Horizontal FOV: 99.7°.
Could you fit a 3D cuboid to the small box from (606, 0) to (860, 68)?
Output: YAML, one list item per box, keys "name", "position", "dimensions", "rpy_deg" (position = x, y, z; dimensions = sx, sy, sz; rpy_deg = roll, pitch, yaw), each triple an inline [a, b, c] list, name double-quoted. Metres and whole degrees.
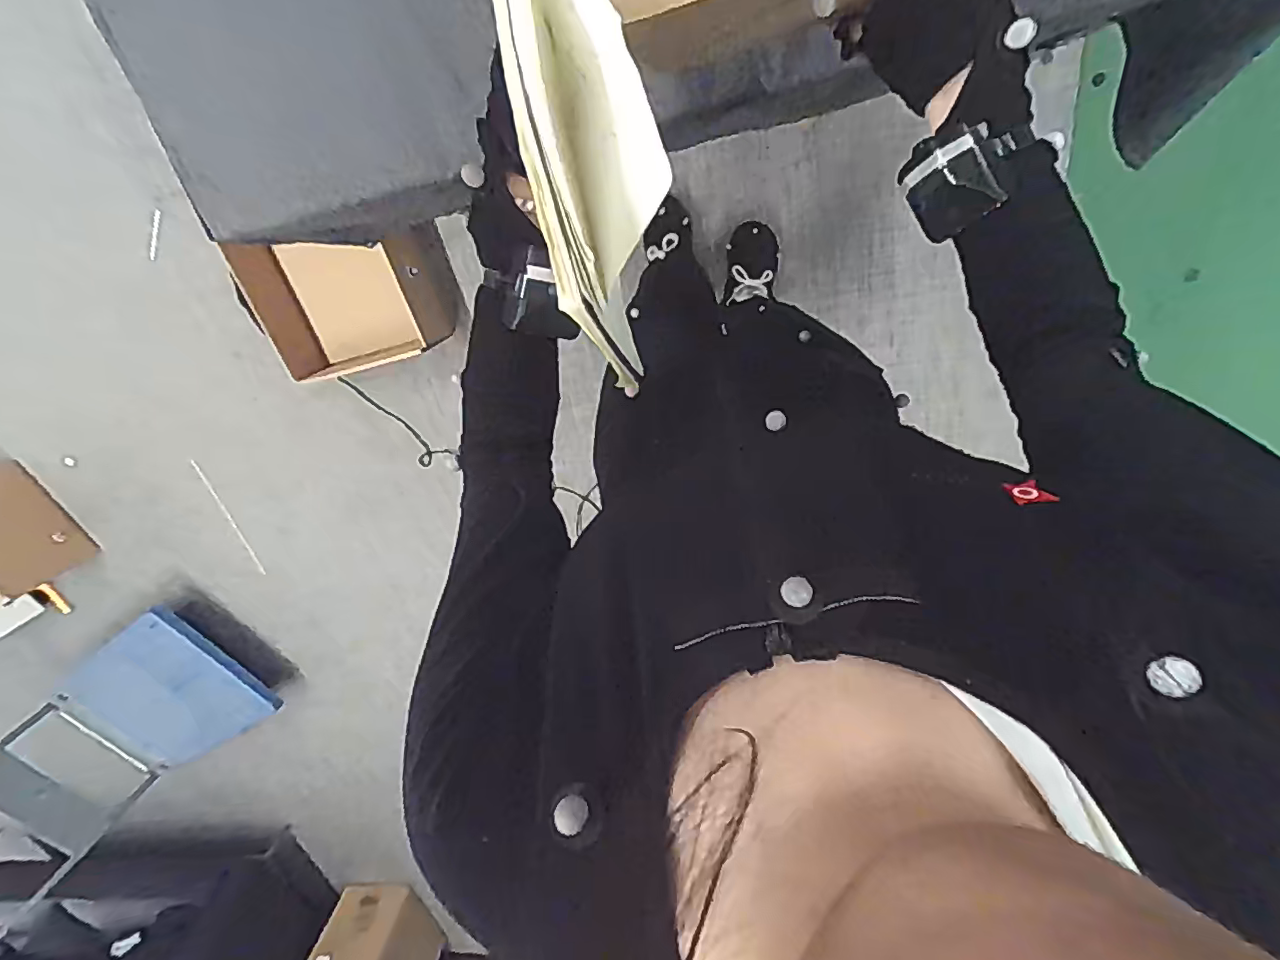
- name: "small box"
  position: [0.065, -0.391, 0.337]
  dimensions: [0.179, 0.176, 0.168]
  rpy_deg: [-5, 116, 17]
